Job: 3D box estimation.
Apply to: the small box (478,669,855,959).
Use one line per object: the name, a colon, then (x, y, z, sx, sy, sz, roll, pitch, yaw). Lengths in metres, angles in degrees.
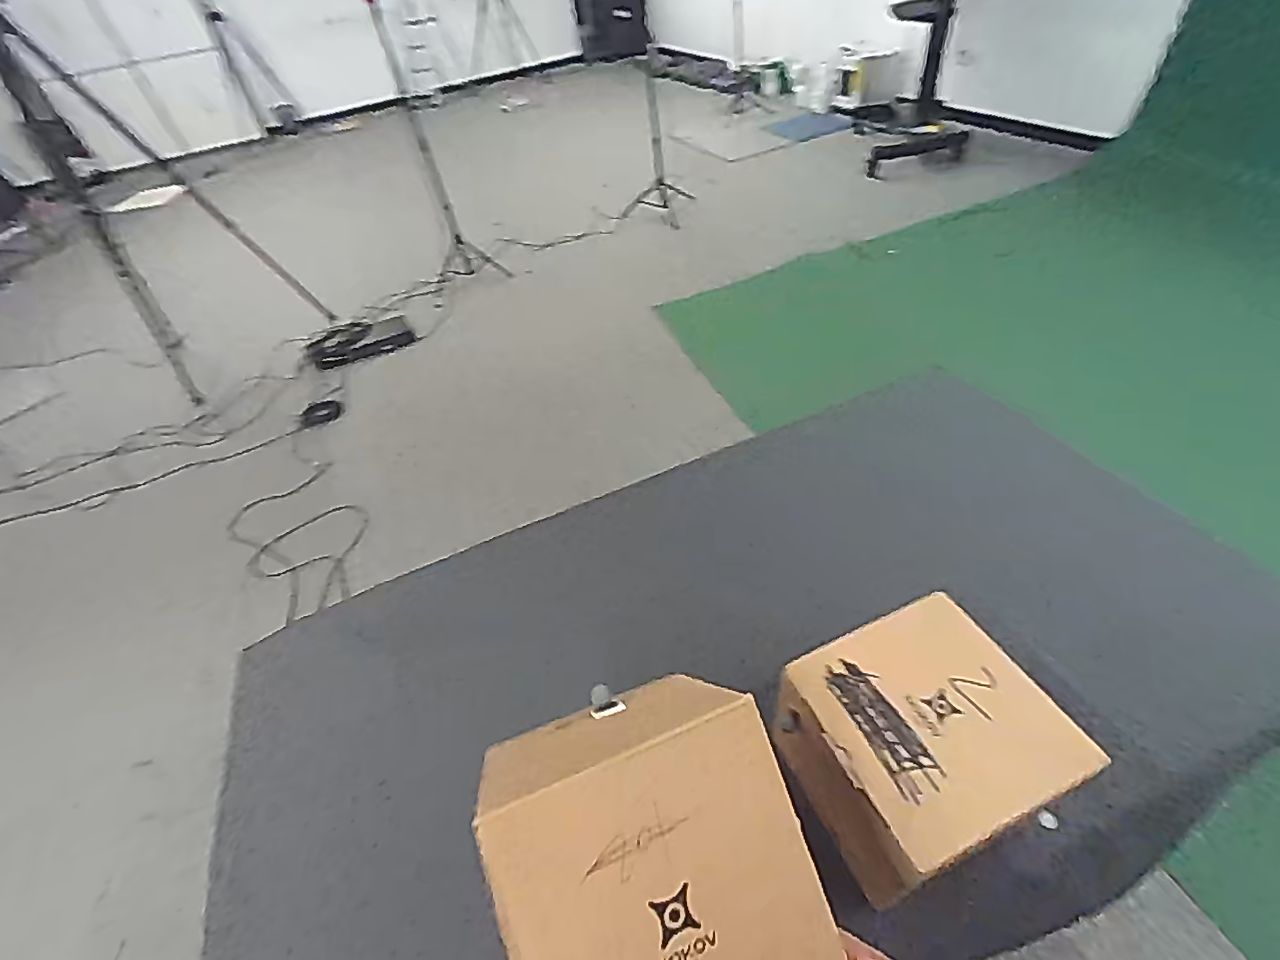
small box: (0.003, 0.241, 0.348, 0.168, 0.176, 0.179, -16, 82, -18)
